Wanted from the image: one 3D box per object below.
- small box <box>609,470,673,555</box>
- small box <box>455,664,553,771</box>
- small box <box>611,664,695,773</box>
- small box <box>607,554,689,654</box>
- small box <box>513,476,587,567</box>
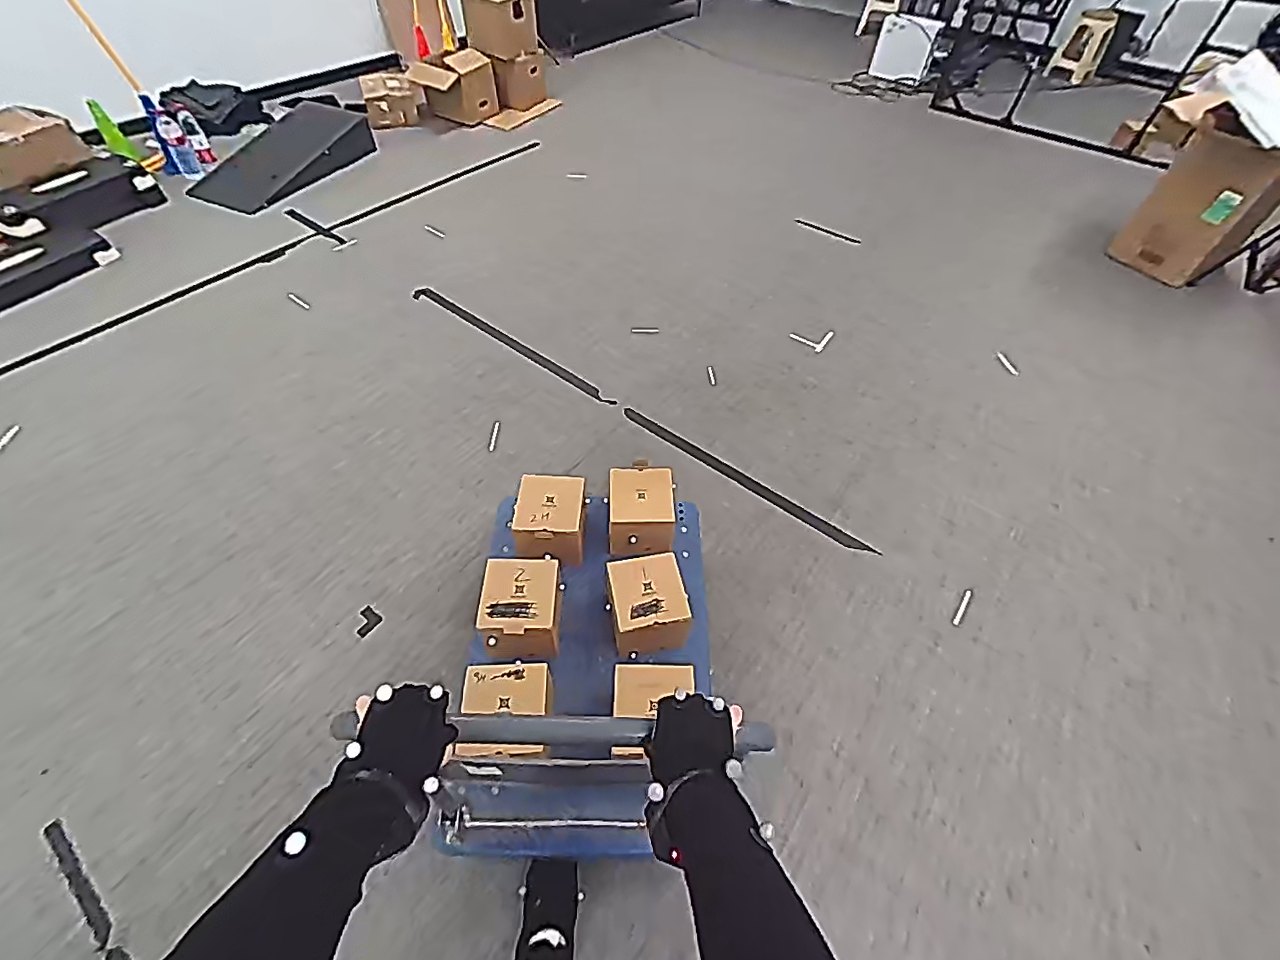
[{"bbox_3d":[0.000,0.093,1.472,0.168,0.176,0.179,0,51,-3],"label":"small box"},{"bbox_3d":[-0.272,0.500,1.128,0.168,0.176,0.179,0,52,-5],"label":"small box"},{"bbox_3d":[0.025,0.507,1.142,0.168,0.176,0.179,3,50,-2],"label":"small box"},{"bbox_3d":[0.014,0.304,1.302,0.168,0.176,0.179,-7,51,-9],"label":"small box"},{"bbox_3d":[-0.232,0.112,1.440,0.168,0.176,0.179,3,52,-1],"label":"small box"}]
